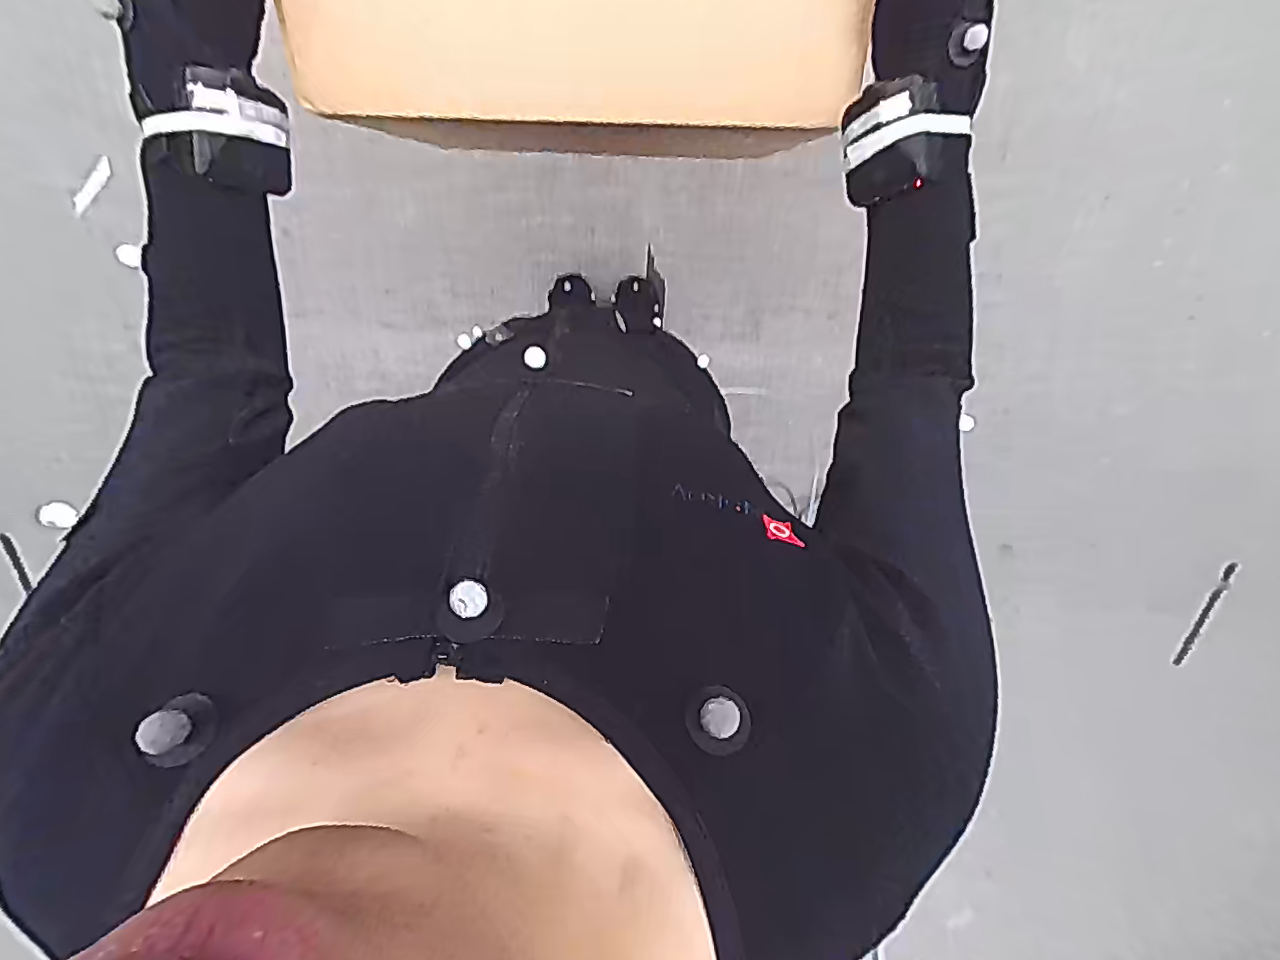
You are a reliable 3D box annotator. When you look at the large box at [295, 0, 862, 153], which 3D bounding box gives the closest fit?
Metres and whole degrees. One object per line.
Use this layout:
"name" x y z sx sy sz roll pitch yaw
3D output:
"large box" -0.045 -0.480 0.470 0.408 0.320 0.320 0 118 -2
